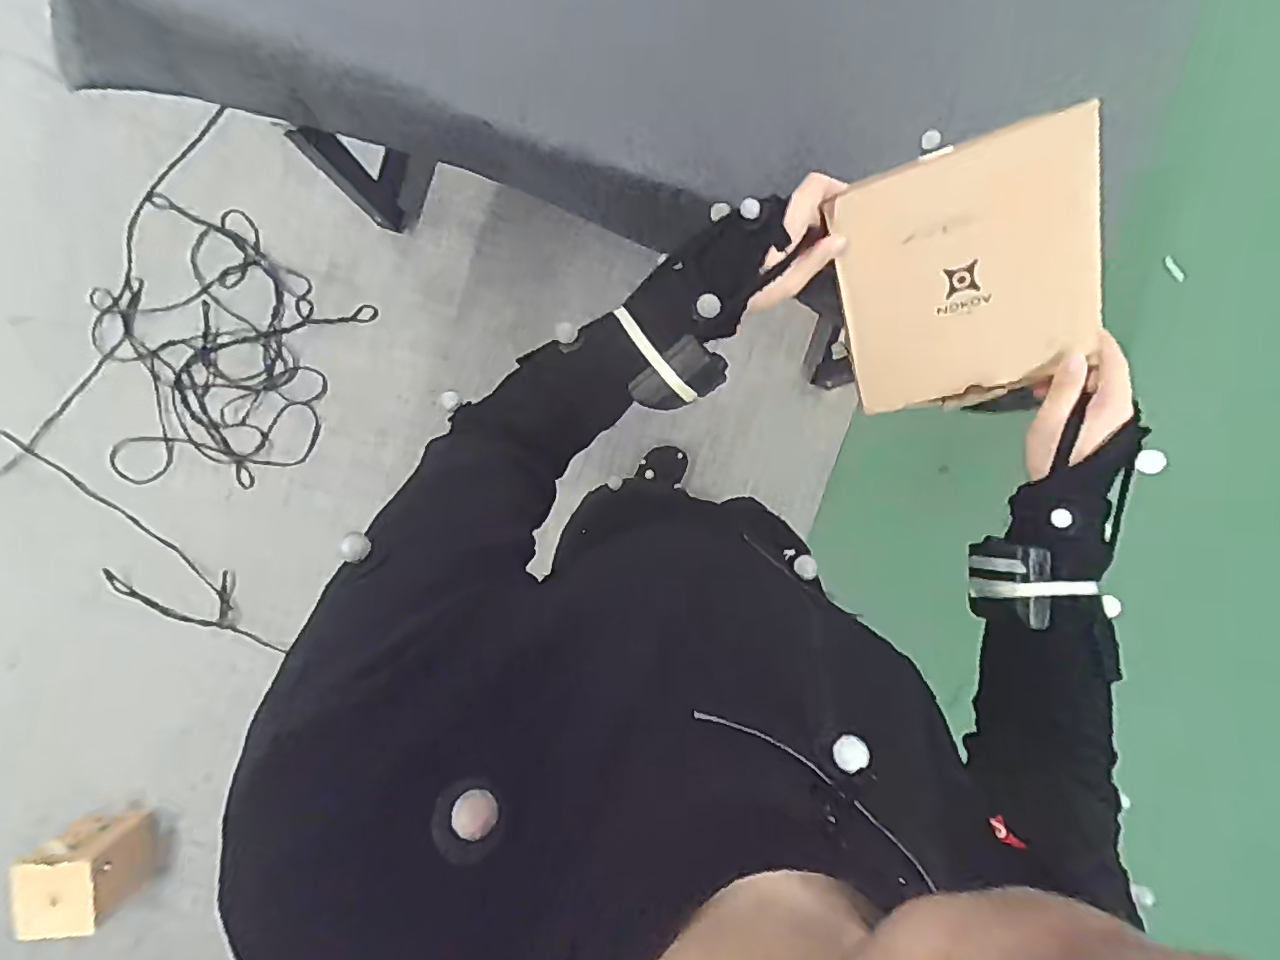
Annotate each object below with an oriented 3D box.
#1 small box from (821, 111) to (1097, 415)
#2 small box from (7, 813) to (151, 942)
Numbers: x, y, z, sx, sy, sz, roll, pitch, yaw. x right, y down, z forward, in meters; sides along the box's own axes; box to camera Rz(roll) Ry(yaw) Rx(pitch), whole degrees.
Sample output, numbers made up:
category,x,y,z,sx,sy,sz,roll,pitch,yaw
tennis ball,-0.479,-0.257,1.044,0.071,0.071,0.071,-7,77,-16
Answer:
category,x,y,z,sx,sy,sz,roll,pitch,yaw
small box,0.258,-0.181,0.467,0.168,0.176,0.179,-13,113,22
small box,-1.288,0.914,1.255,0.168,0.176,0.179,-1,93,-4
